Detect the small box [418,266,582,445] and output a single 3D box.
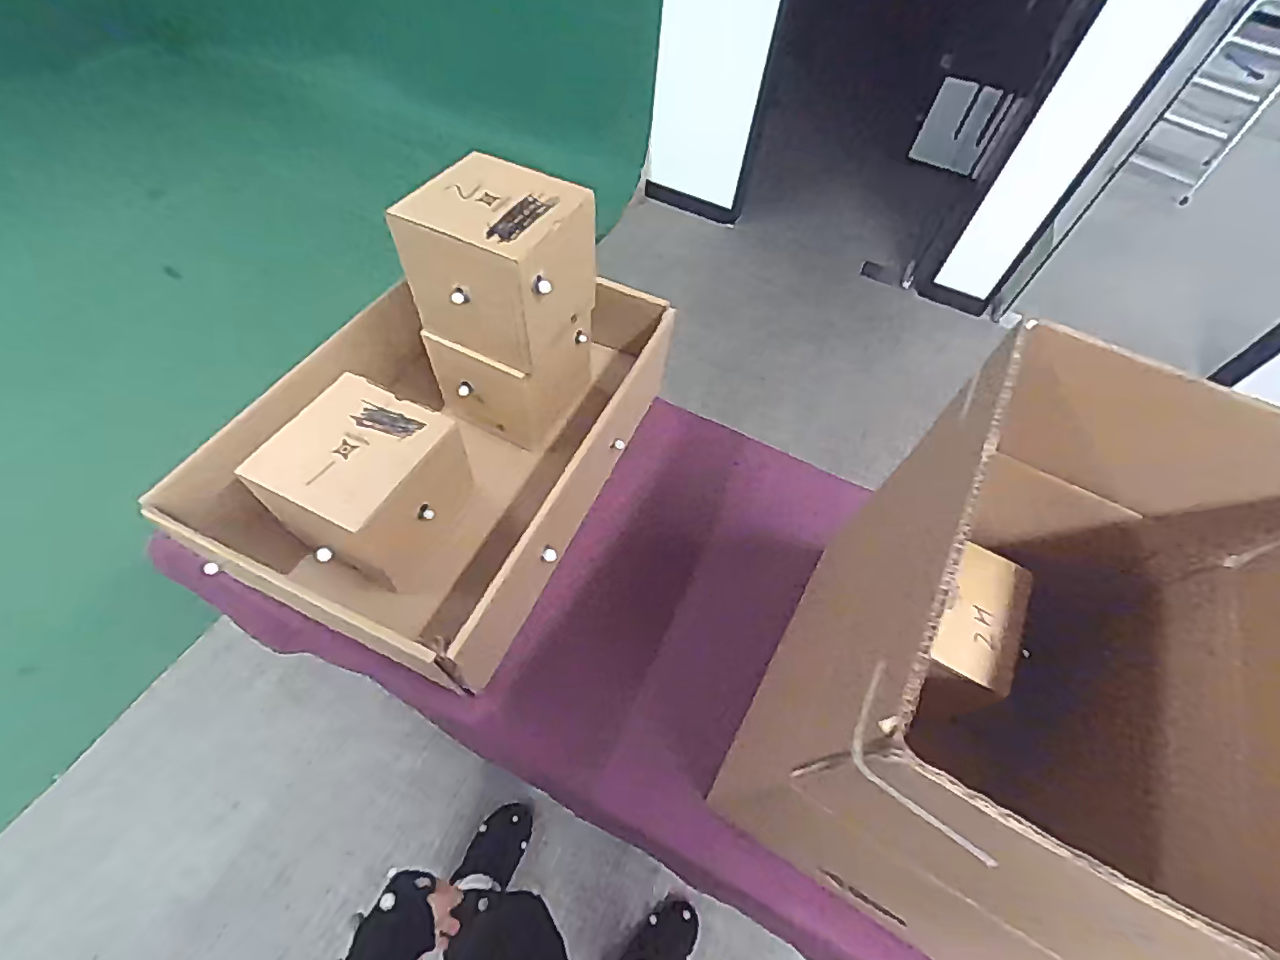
[{"bbox_3d":[-0.195,-0.183,0.820,0.168,0.176,0.179,25,58,12],"label":"small box"}]
